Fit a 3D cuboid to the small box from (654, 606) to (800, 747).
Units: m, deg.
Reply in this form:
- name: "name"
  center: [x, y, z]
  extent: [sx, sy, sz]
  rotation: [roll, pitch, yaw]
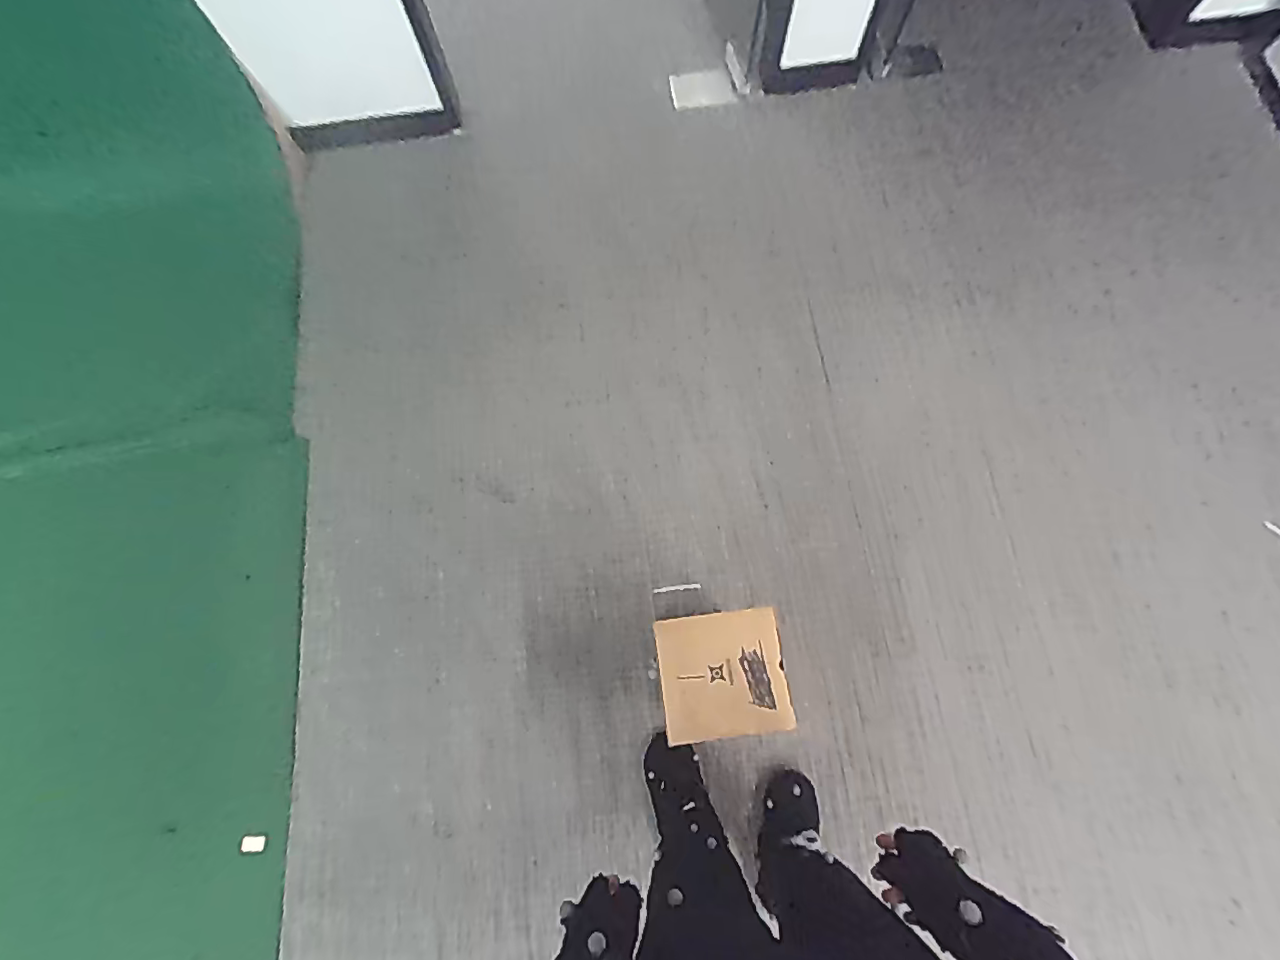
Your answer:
- name: "small box"
  center: [0.122, 0.291, 0.830]
  extent: [0.179, 0.176, 0.168]
  rotation: [-10, 74, -2]
